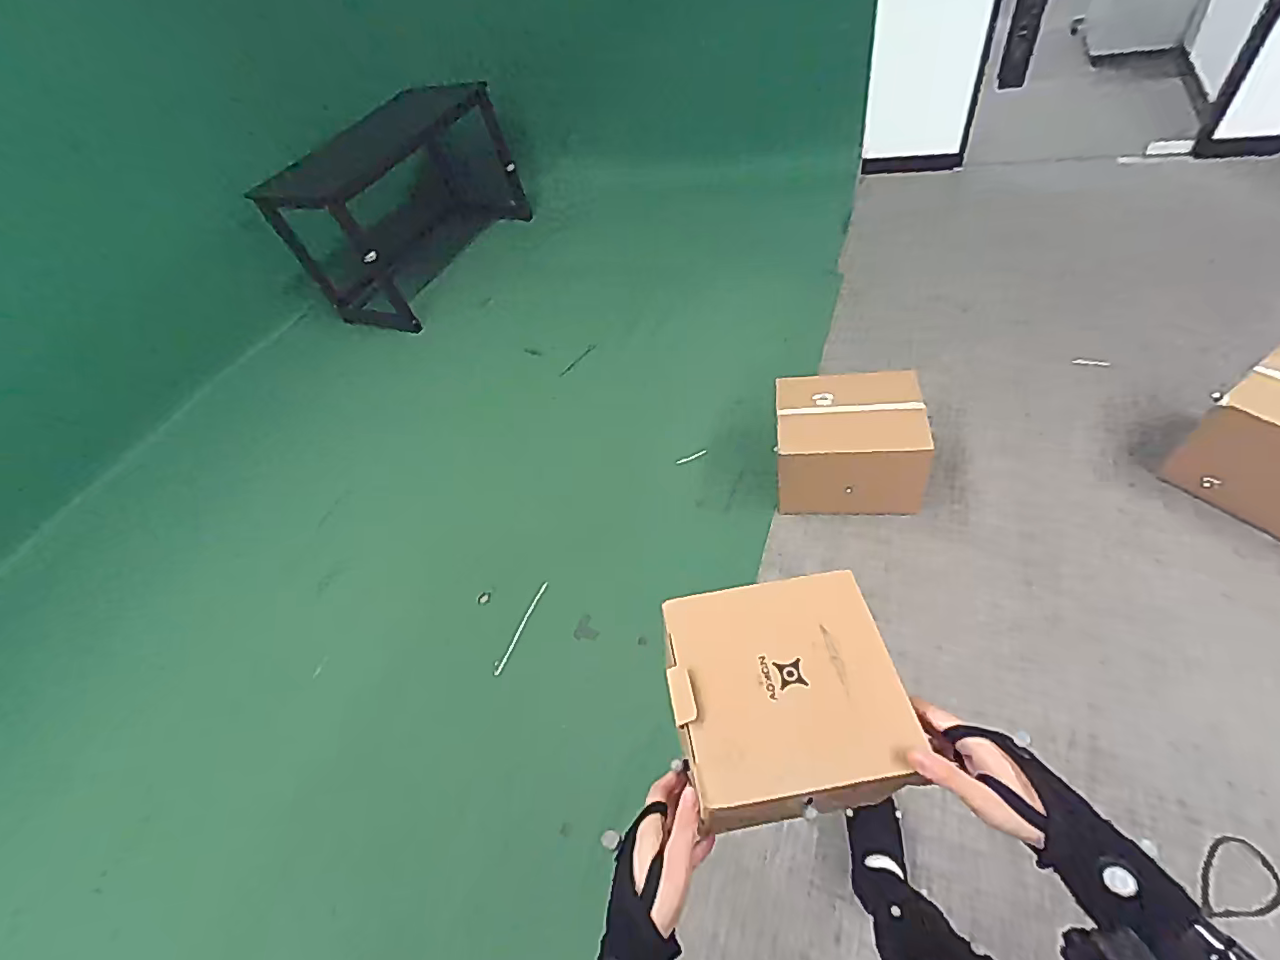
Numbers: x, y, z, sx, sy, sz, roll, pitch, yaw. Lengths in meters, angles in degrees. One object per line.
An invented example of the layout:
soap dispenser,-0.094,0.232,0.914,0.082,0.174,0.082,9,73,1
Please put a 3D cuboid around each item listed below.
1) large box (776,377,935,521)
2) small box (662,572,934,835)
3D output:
large box,0.635,-0.085,1.665,0.408,0.320,0.320,-2,51,15
small box,0.123,0.208,0.493,0.179,0.176,0.168,-9,51,-2
